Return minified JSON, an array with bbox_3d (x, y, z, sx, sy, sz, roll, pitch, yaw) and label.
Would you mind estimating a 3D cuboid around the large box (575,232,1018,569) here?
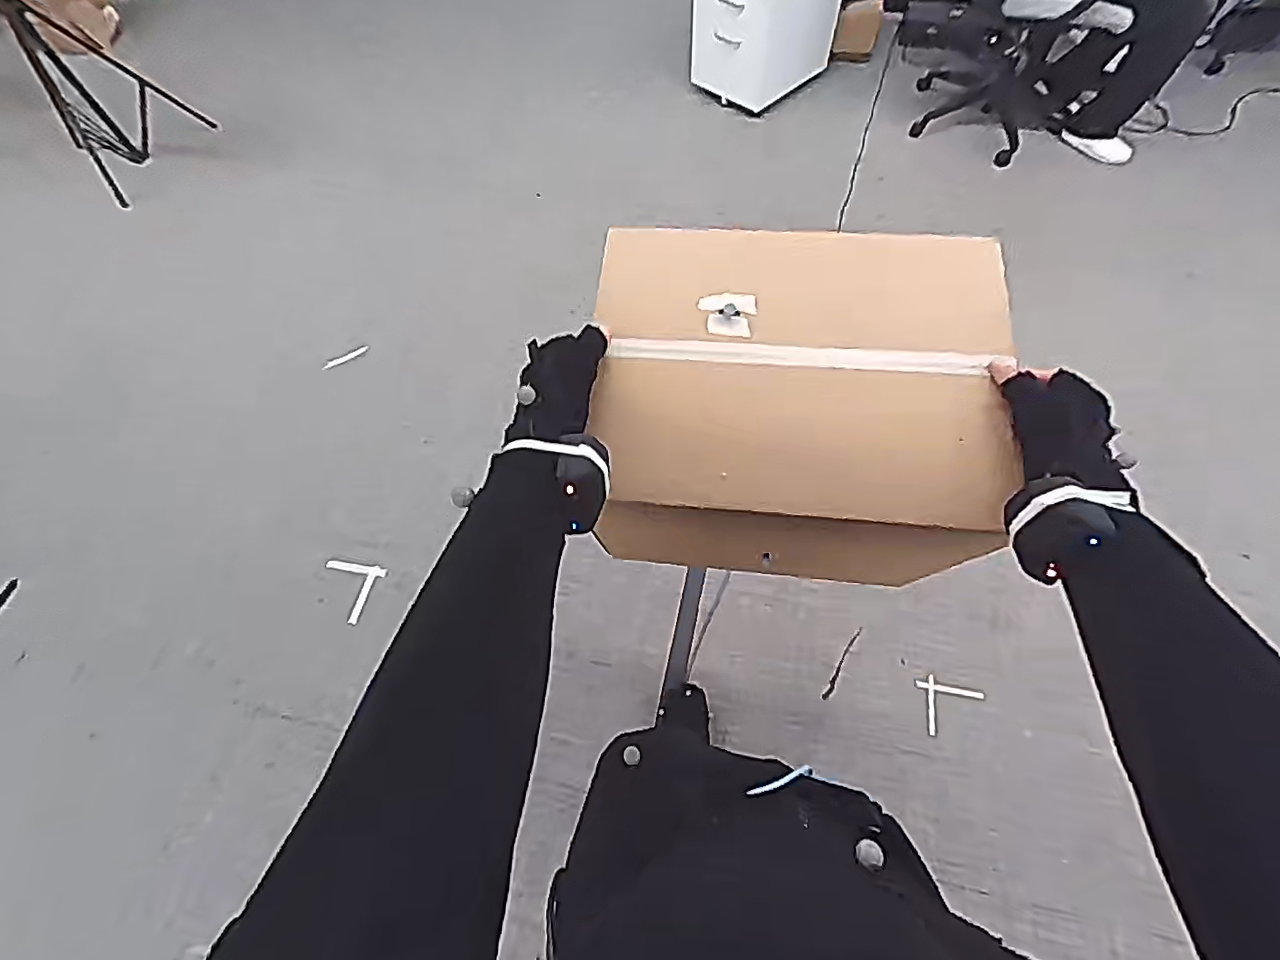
[{"bbox_3d":[0.166,-0.076,0.679,0.408,0.320,0.320,5,71,8],"label":"large box"}]
